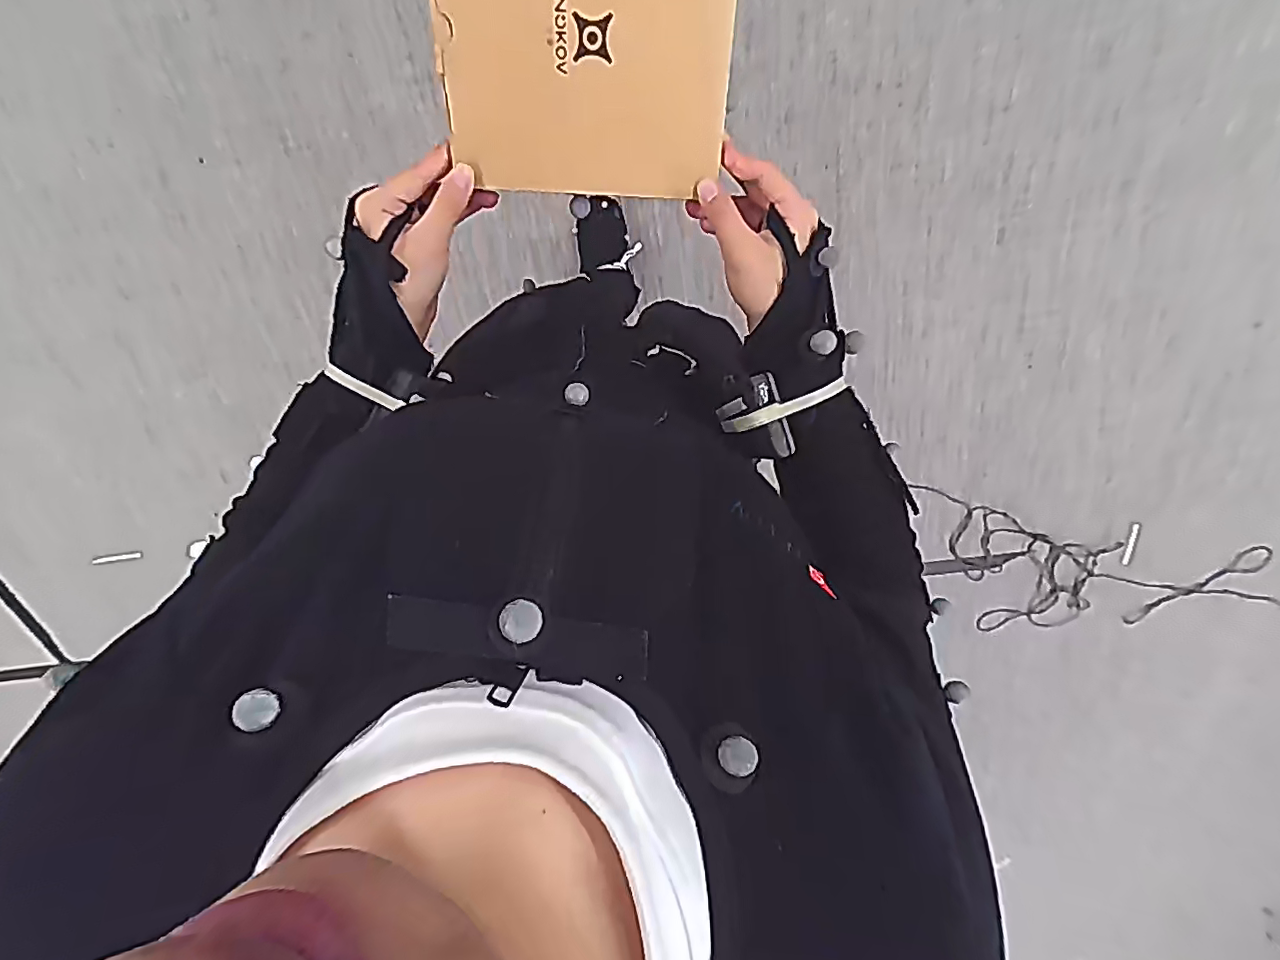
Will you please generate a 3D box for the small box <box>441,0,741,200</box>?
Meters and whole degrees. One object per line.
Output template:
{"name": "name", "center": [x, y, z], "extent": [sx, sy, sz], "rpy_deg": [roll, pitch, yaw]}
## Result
{"name": "small box", "center": [-0.029, -0.306, 0.390], "extent": [0.179, 0.176, 0.168], "rpy_deg": [3, 121, 0]}
